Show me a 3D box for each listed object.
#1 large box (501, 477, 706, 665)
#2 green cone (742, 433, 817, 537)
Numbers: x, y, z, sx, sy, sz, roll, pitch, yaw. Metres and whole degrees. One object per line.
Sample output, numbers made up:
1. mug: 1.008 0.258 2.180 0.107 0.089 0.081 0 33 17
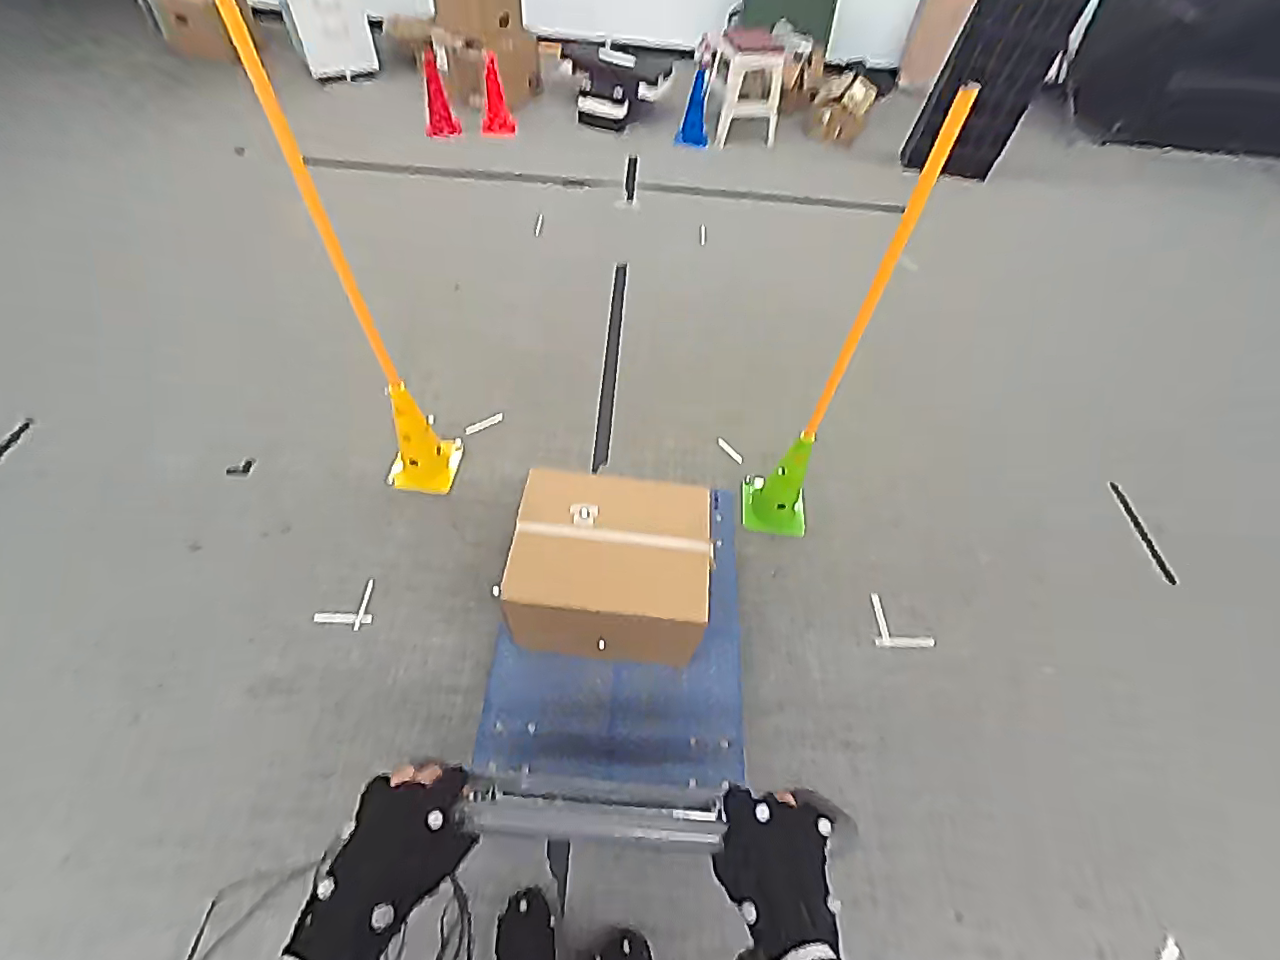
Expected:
1. large box: -0.067 0.220 1.250 0.408 0.320 0.320 6 55 1
2. green cone: 0.449 -0.008 1.635 0.202 0.368 0.200 8 54 -1
